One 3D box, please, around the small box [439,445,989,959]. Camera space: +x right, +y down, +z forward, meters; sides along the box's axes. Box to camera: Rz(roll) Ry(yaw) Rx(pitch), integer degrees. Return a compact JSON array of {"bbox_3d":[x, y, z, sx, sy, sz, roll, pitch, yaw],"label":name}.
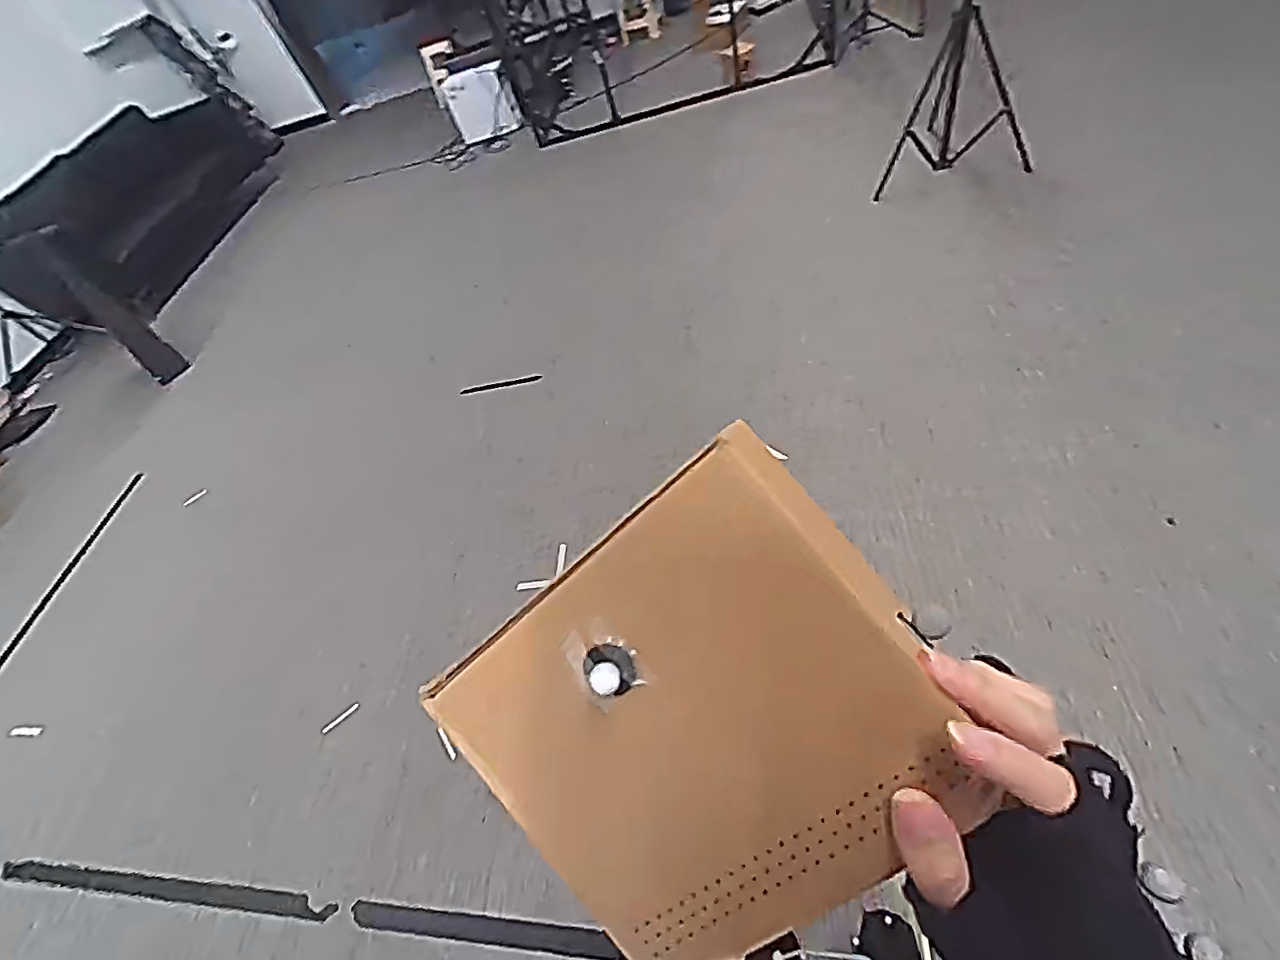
[{"bbox_3d":[0.038,0.104,0.301,0.179,0.168,0.176,-41,88,14],"label":"small box"}]
